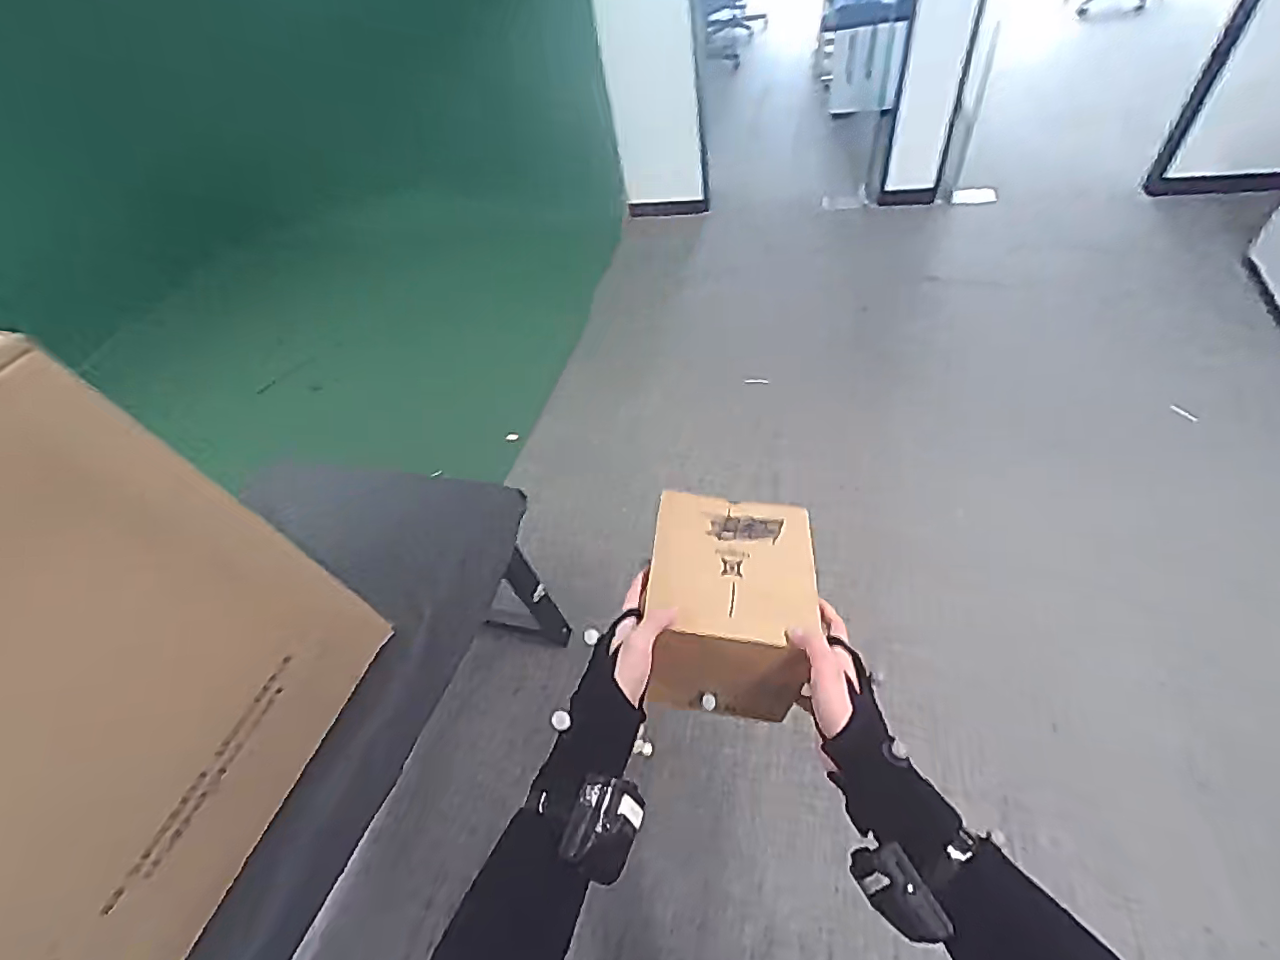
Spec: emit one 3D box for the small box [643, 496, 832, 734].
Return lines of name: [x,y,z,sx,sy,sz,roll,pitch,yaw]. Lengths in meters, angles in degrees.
small box: [0.101,0.148,0.599,0.168,0.176,0.179,11,44,6]
